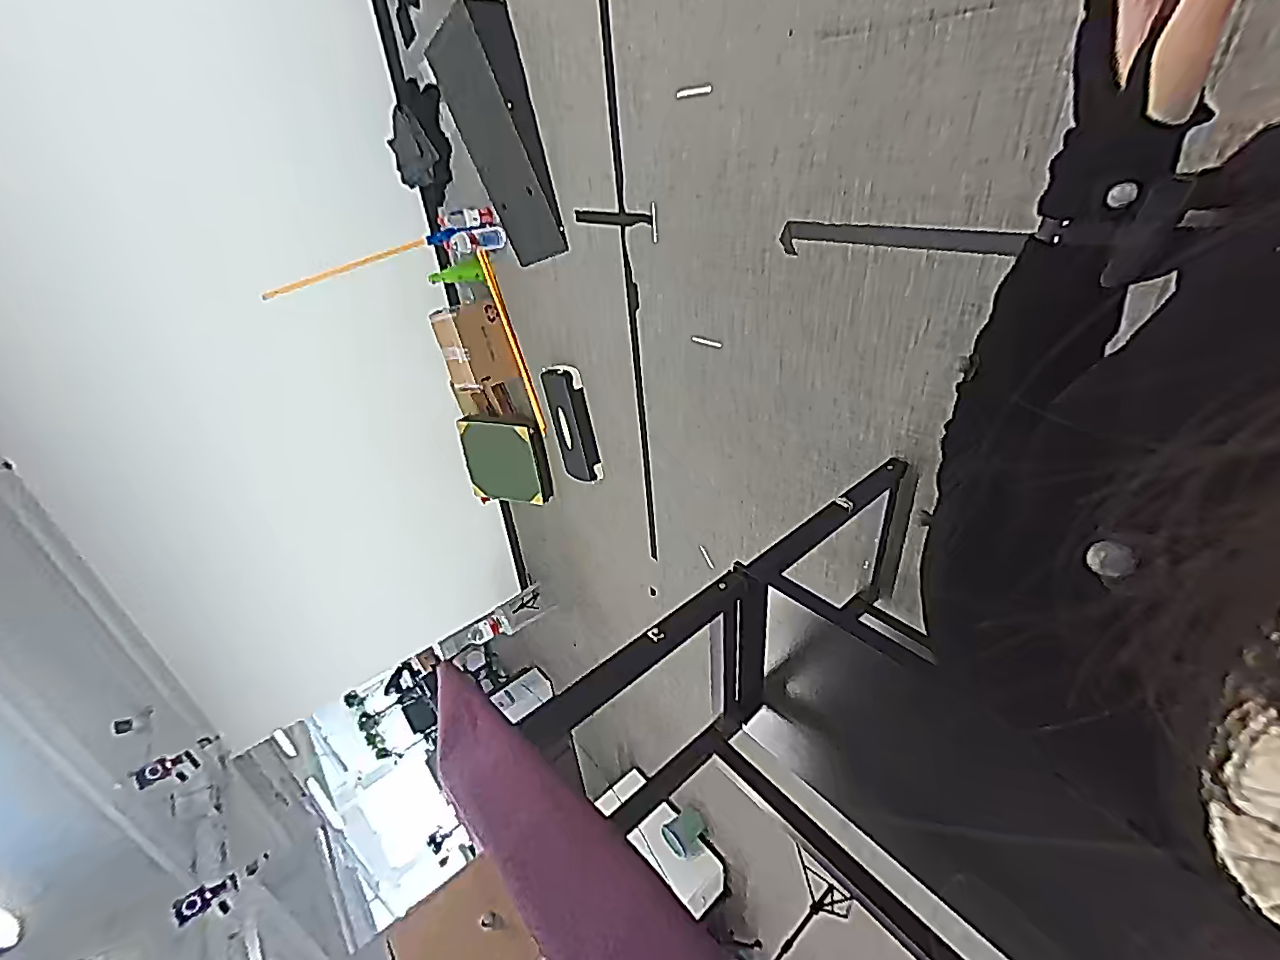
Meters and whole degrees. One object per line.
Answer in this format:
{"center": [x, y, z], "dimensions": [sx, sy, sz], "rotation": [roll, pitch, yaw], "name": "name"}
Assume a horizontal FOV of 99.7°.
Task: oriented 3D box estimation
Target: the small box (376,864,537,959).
{"center": [-0.269, 0.732, 0.823], "dimensions": [0.179, 0.176, 0.168], "rotation": [38, 141, 35], "name": "small box"}
